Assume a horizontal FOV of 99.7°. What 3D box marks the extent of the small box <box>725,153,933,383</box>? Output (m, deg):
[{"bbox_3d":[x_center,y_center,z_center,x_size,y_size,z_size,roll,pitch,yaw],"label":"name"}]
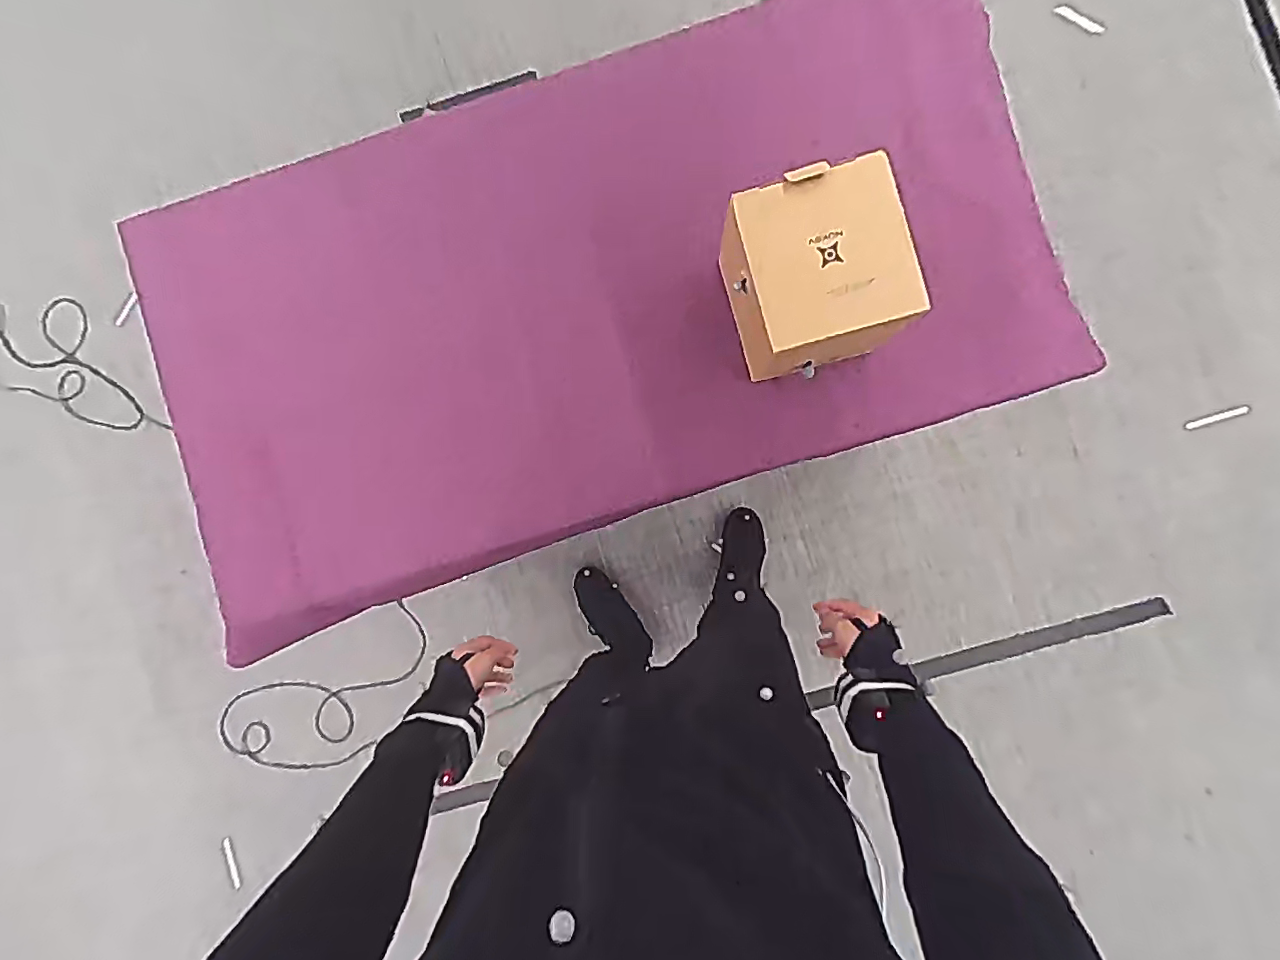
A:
[{"bbox_3d":[0.201,-0.229,0.629,0.168,0.176,0.179,-14,88,4],"label":"small box"}]
